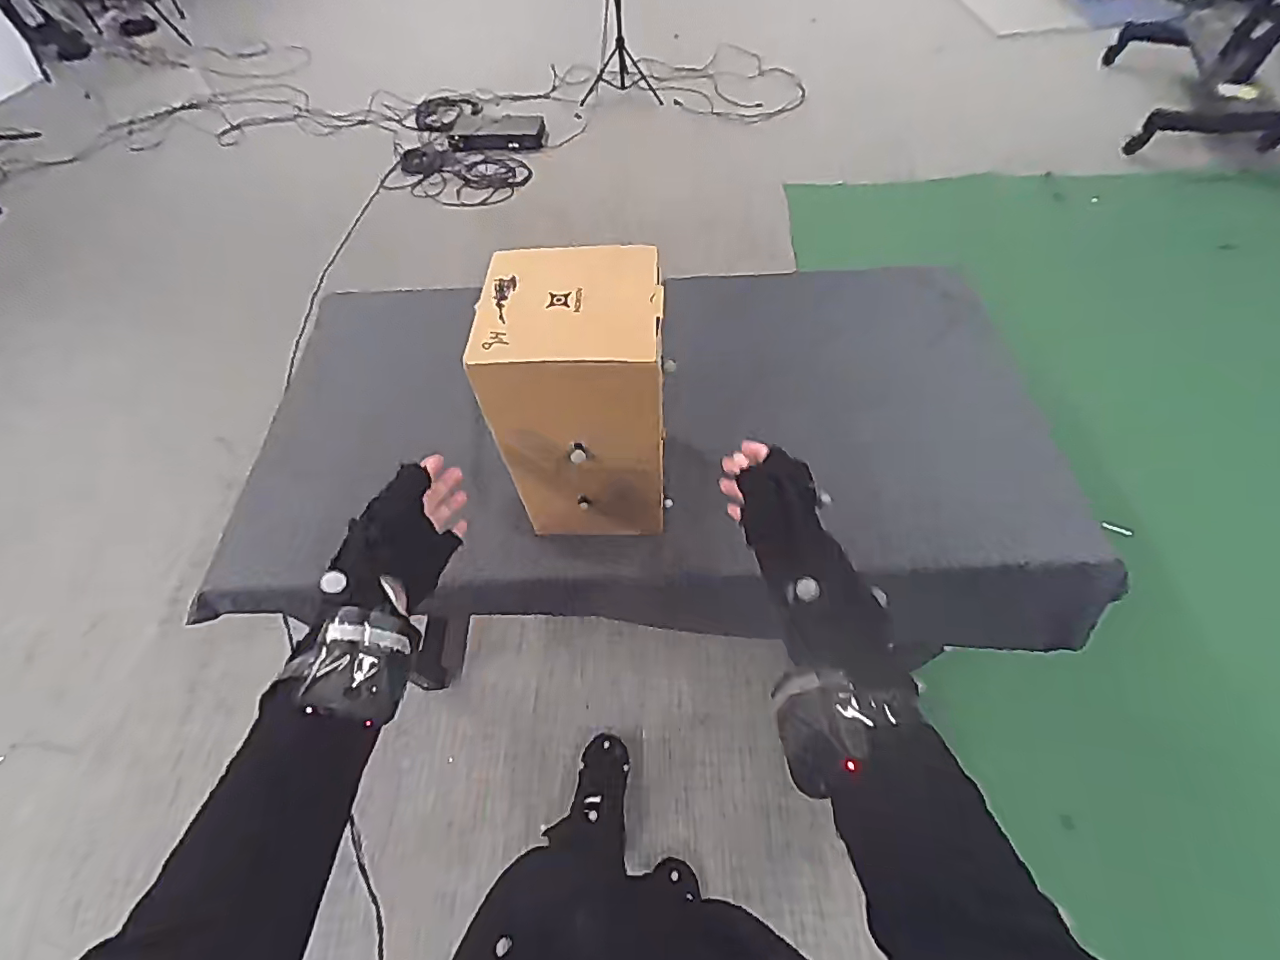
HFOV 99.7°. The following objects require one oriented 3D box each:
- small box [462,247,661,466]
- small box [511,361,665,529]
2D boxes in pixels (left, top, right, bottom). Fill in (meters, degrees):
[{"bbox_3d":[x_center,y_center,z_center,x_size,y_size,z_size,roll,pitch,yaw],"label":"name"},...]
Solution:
[{"bbox_3d":[-0.067,-0.127,0.585,0.179,0.176,0.168,0,56,3],"label":"small box"},{"bbox_3d":[-0.058,-0.045,0.725,0.179,0.176,0.168,2,56,4],"label":"small box"}]
